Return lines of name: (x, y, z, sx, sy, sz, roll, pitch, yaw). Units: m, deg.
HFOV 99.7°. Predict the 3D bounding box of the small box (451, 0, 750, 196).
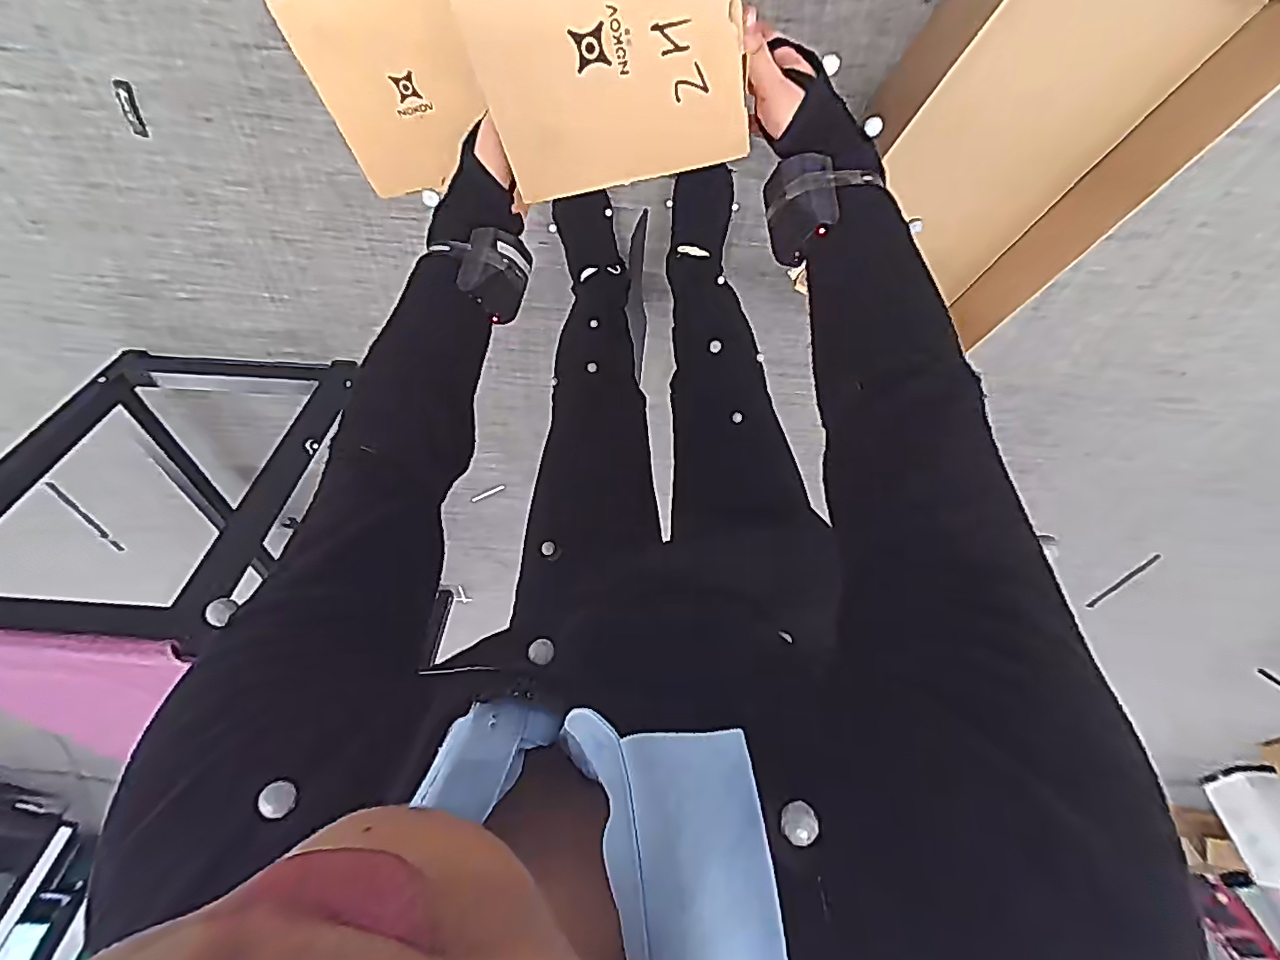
small box: (-0.018, -0.336, 0.387, 0.179, 0.176, 0.168, -6, 139, 11)
